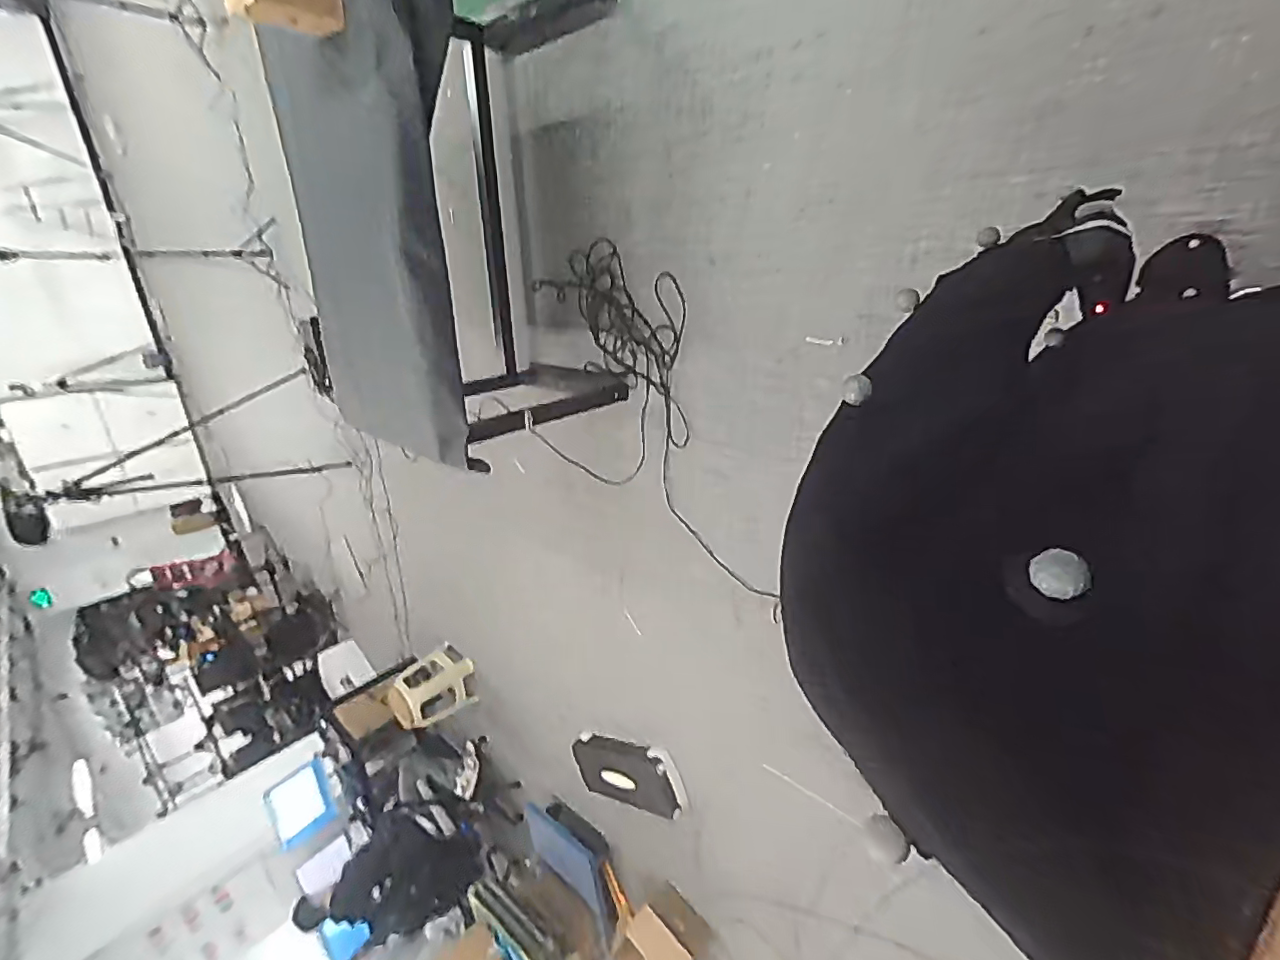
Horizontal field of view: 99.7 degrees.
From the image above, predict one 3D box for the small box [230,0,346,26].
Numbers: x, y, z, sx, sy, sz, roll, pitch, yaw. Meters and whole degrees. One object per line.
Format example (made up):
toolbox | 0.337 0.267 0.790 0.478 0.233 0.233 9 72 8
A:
small box | -0.700 -1.021 1.055 0.168 0.176 0.179 23 122 35
